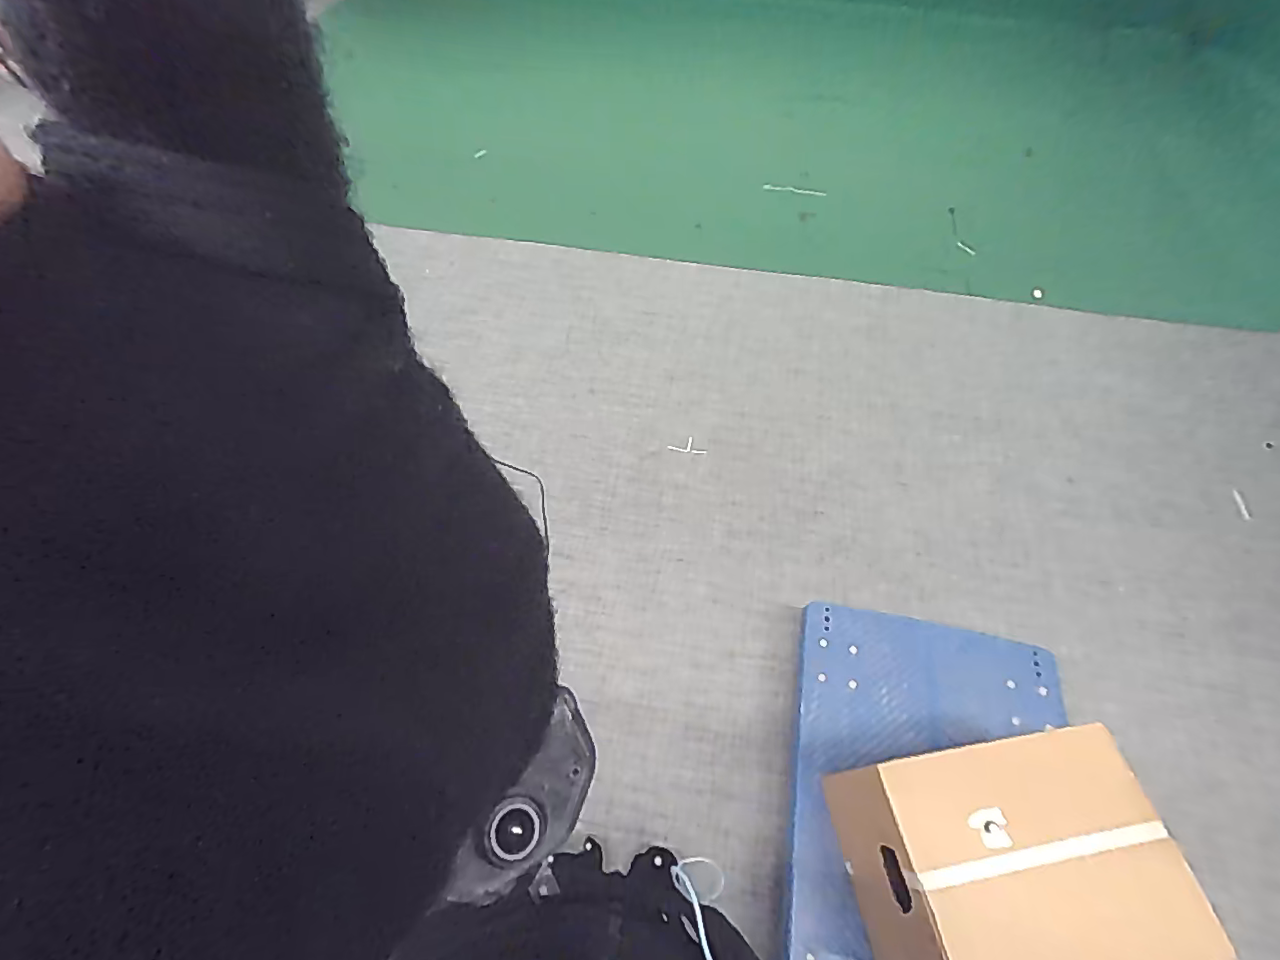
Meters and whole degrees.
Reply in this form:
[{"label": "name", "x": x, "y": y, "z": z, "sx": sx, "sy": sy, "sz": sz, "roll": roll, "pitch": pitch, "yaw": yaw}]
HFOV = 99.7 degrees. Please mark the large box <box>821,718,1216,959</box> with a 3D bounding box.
[{"label": "large box", "x": 0.595, "y": 0.636, "z": 0.944, "sx": 0.408, "sy": 0.320, "sz": 0.320, "roll": -8, "pitch": 58, "yaw": -5}]
